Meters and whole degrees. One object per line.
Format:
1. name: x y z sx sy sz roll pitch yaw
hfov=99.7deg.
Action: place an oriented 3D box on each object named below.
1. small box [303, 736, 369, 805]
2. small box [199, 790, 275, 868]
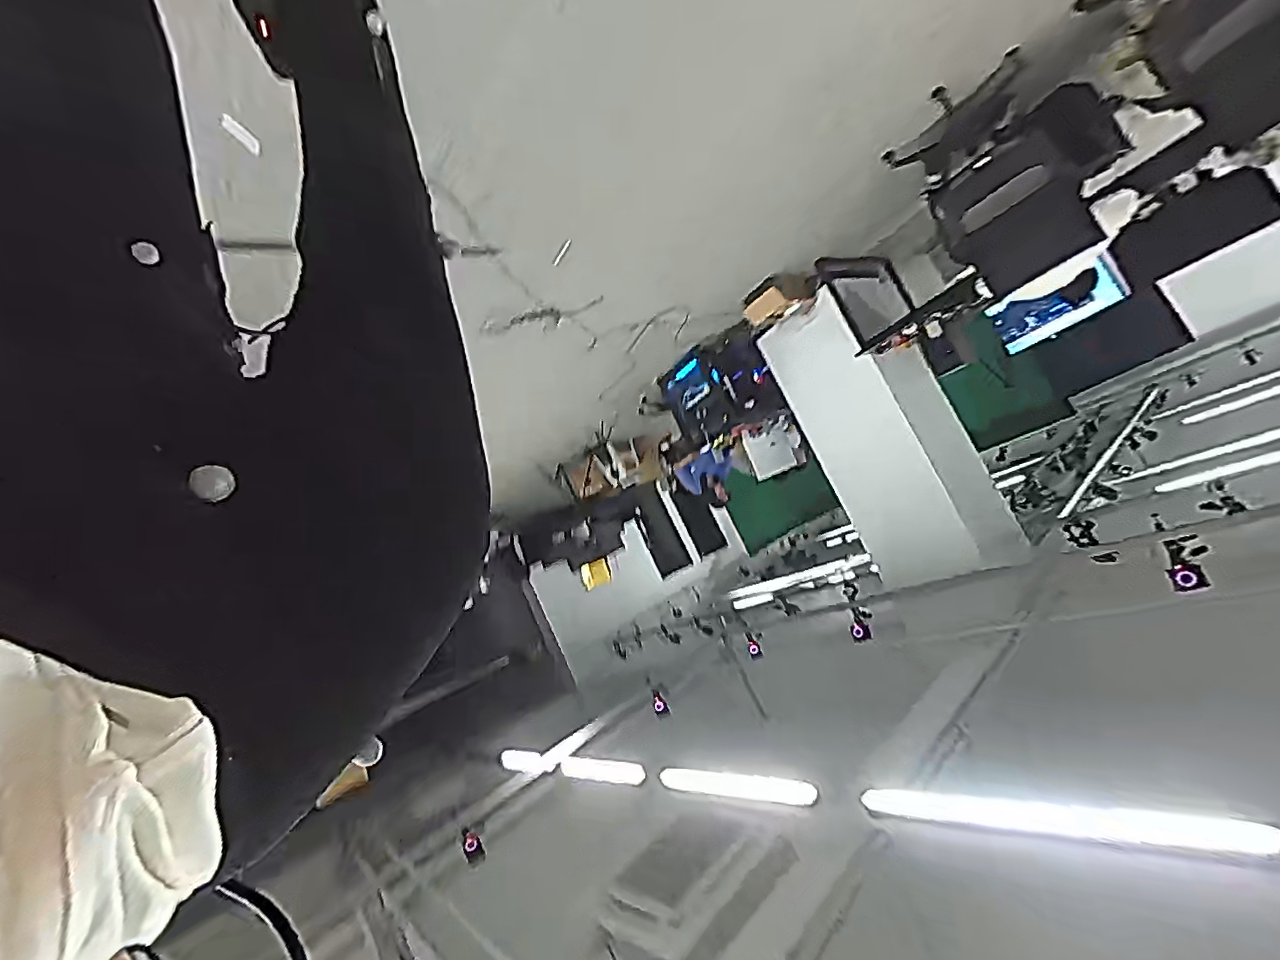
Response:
1. small box: -1.195 1.134 2.119 0.179 0.176 0.168 -22 172 -40
2. small box: -1.421 1.221 1.902 0.168 0.176 0.179 -20 171 -47
